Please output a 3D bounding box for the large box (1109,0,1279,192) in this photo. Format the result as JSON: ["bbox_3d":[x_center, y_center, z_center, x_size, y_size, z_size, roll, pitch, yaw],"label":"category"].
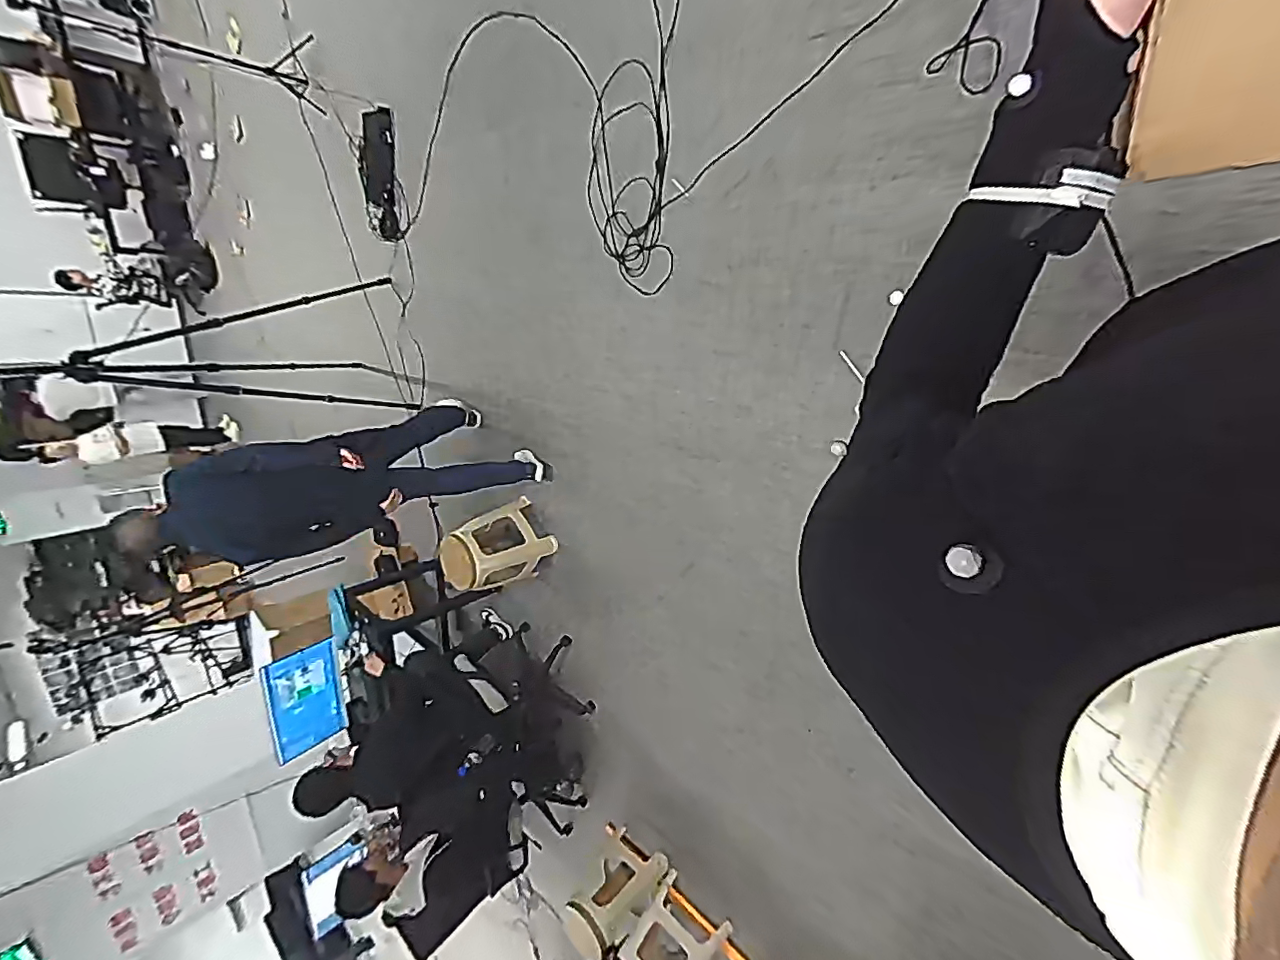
[{"bbox_3d":[0.575,-0.411,0.327,0.408,0.320,0.320,7,129,34],"label":"large box"}]
